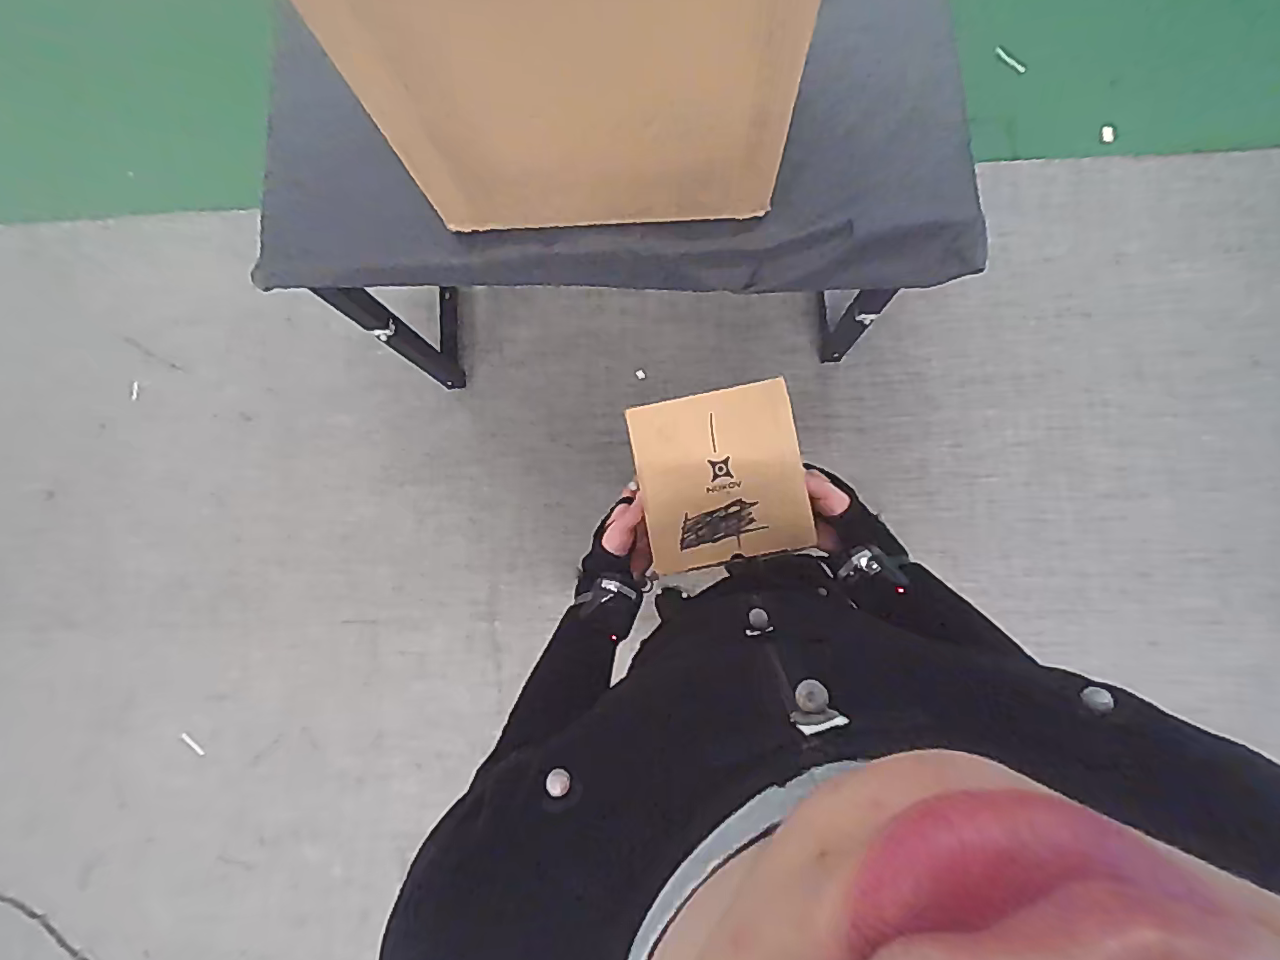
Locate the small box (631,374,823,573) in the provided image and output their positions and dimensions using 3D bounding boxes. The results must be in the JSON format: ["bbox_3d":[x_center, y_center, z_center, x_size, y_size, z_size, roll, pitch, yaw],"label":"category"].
[{"bbox_3d":[0.091,-0.007,0.622,0.168,0.176,0.179,-12,90,2],"label":"small box"}]
